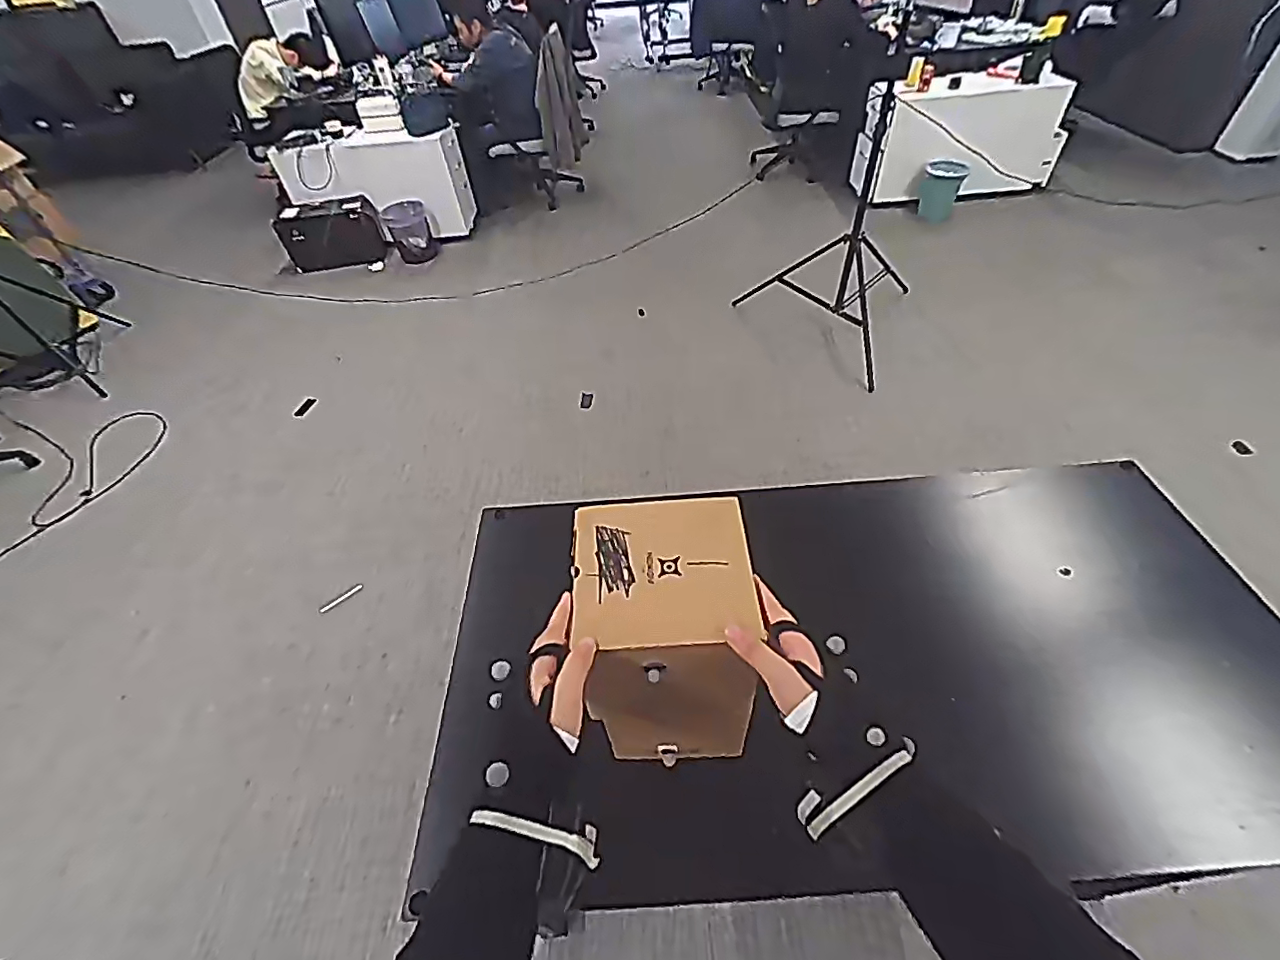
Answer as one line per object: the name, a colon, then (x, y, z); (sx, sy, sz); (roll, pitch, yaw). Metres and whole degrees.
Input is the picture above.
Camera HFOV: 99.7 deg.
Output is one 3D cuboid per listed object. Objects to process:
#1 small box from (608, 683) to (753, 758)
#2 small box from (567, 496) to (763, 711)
small box: (0.046, 0.243, 0.707); (0.168, 0.176, 0.179); (-5, 48, 2)
small box: (0.026, 0.137, 0.583); (0.179, 0.176, 0.168); (-4, 47, 2)
